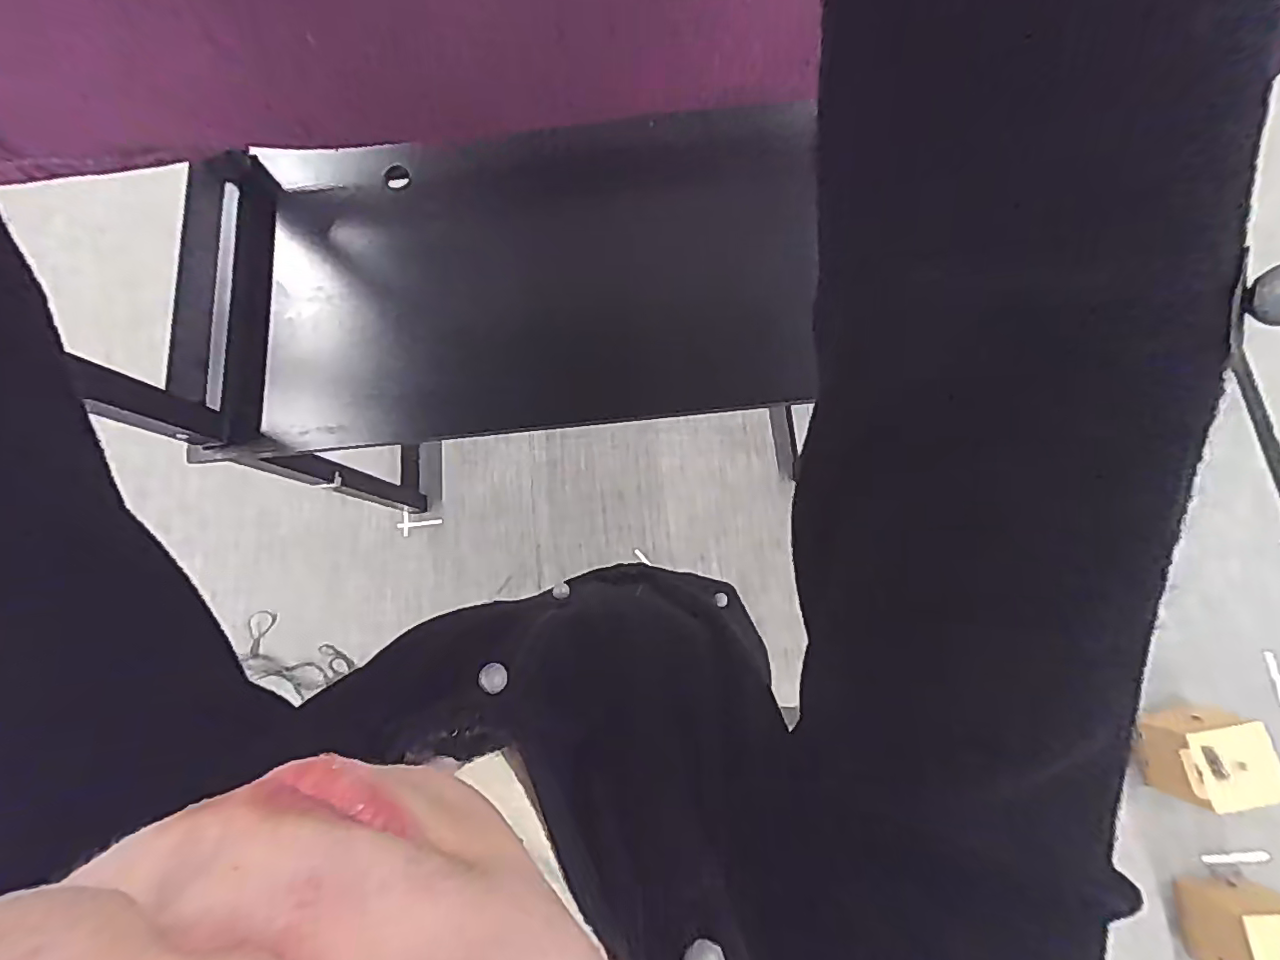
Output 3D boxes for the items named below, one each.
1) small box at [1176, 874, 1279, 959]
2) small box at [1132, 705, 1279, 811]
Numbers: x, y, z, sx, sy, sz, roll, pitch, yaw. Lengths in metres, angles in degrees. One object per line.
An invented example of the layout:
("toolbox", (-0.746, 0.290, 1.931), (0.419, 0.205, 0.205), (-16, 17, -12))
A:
("small box", (1.348, 1.005, 1.186), (0.168, 0.176, 0.179), (-3, 78, 3))
("small box", (1.309, 0.639, 1.260), (0.179, 0.176, 0.168), (-11, 78, 1))
